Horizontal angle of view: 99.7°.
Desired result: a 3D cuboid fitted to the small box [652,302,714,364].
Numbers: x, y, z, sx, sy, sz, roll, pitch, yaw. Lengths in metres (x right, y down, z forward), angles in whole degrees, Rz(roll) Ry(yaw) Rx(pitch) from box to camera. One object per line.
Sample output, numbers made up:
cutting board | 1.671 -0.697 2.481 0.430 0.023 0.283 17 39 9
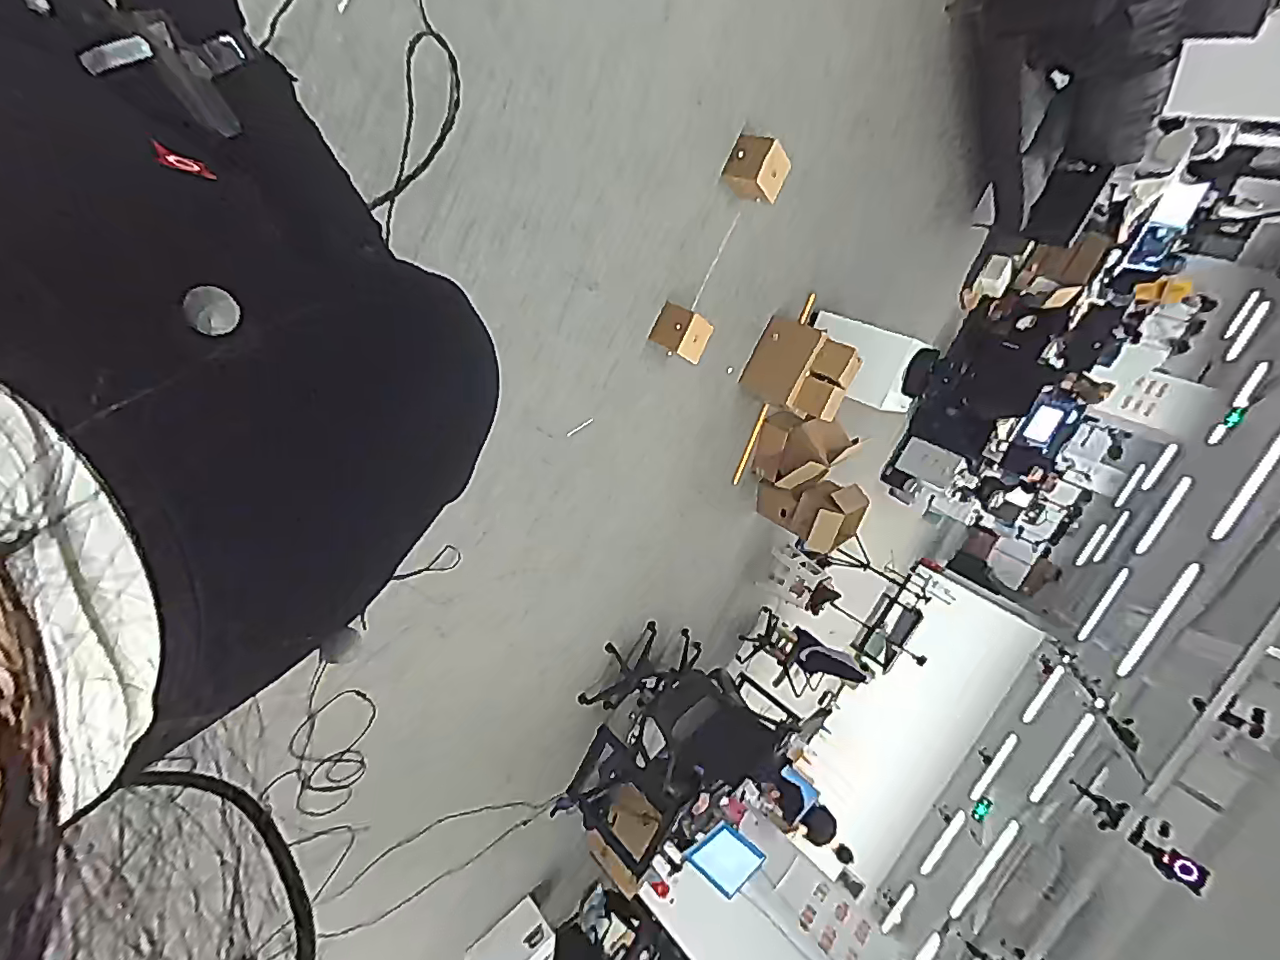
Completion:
small box | 0.172 -0.613 2.249 0.168 0.176 0.179 13 106 -54

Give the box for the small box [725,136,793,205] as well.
small box | 0.465 -1.220 2.123 0.179 0.176 0.168 12 107 -55
